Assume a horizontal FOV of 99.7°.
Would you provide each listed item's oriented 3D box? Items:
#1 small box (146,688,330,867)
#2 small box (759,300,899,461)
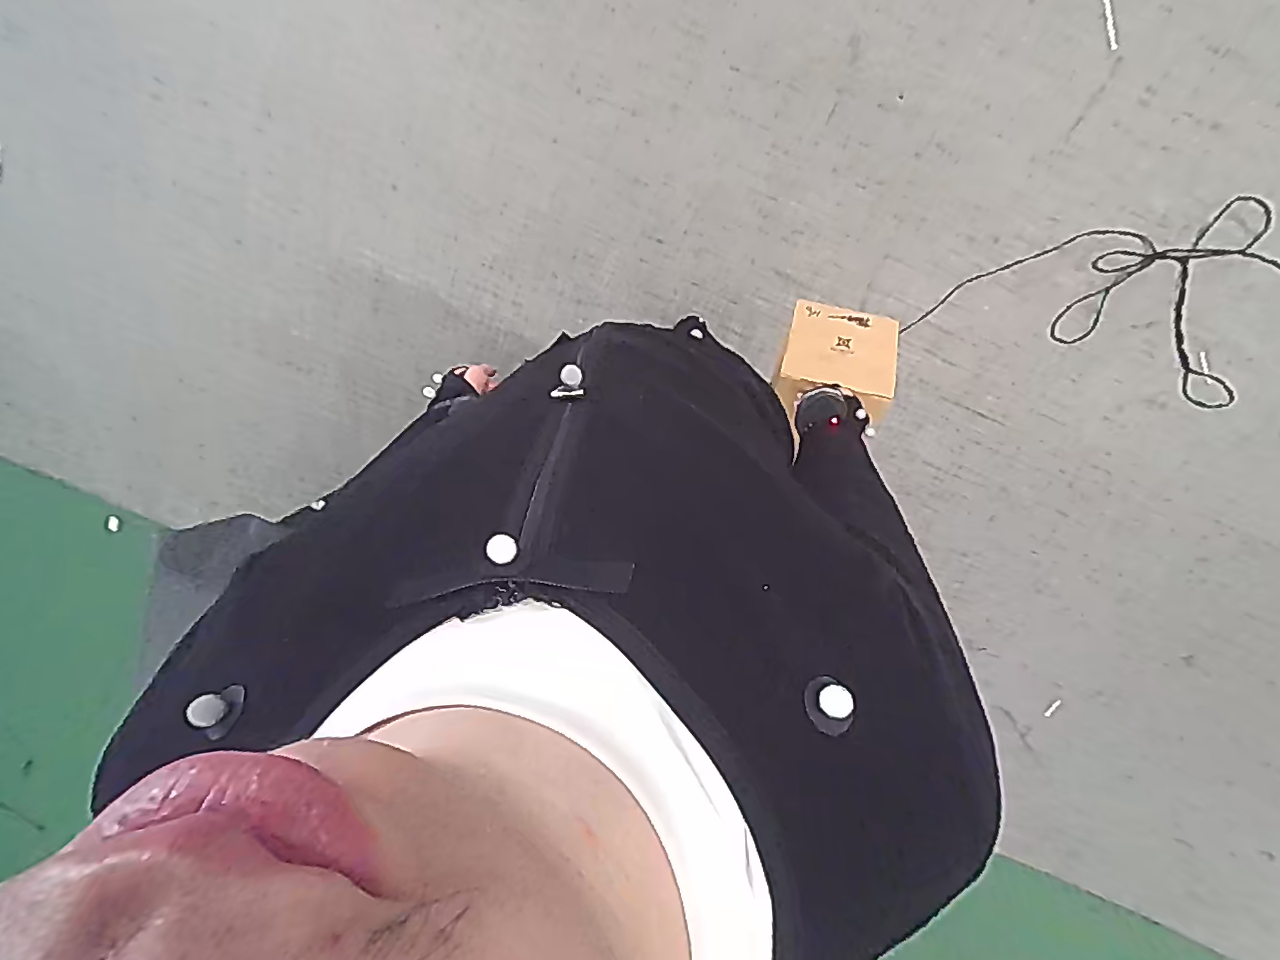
[{"bbox_3d":[-0.674,0.499,0.929,0.168,0.176,0.179,33,107,-5],"label":"small box"},{"bbox_3d":[0.302,-0.157,0.888,0.168,0.179,0.176,17,149,9],"label":"small box"}]
